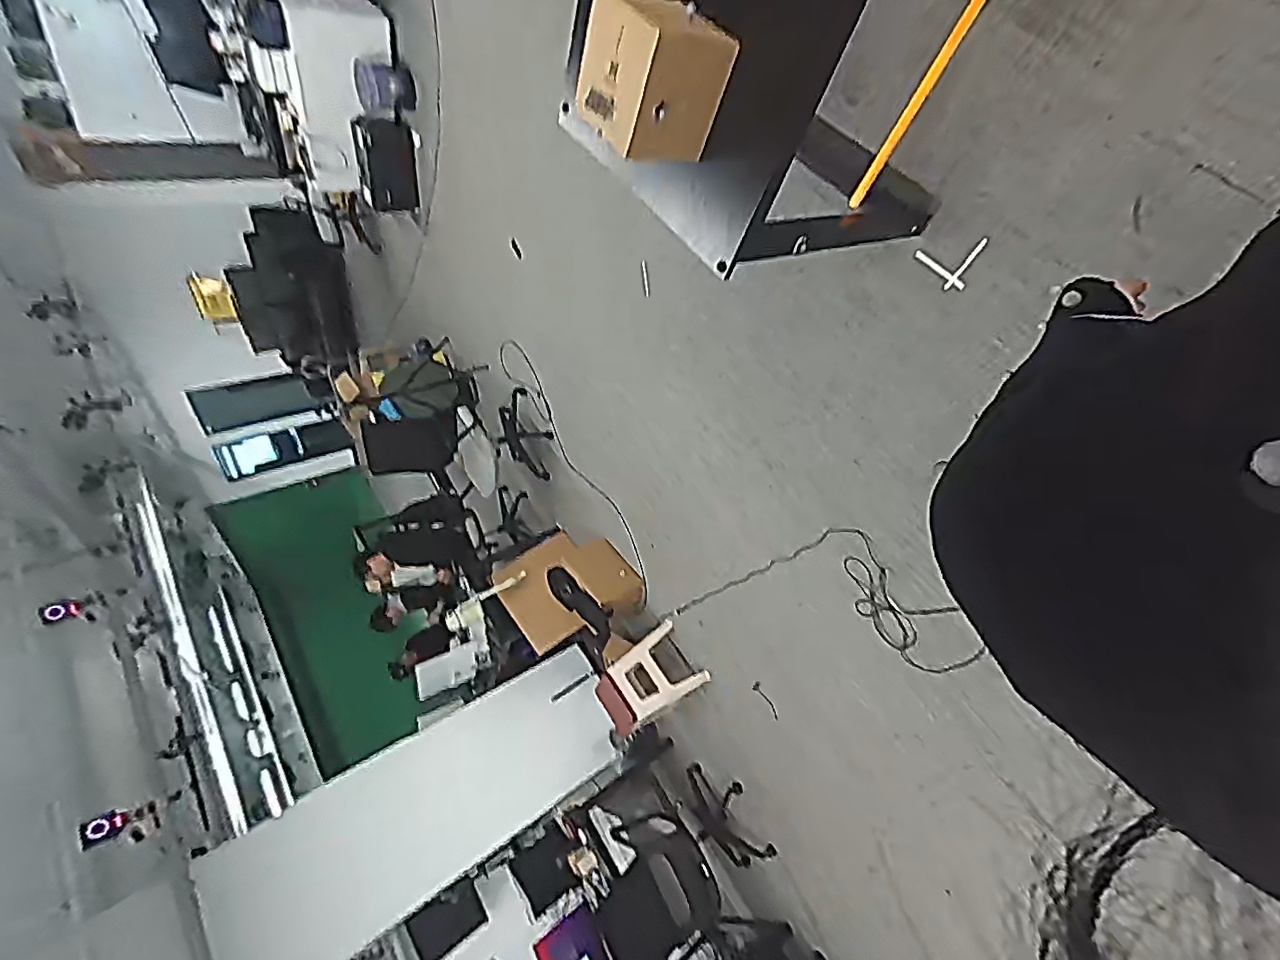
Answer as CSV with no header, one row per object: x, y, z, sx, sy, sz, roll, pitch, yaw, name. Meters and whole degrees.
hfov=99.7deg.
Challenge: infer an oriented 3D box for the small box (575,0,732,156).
0.020,-0.657,0.879,0.168,0.176,0.179,53,144,21,small box
